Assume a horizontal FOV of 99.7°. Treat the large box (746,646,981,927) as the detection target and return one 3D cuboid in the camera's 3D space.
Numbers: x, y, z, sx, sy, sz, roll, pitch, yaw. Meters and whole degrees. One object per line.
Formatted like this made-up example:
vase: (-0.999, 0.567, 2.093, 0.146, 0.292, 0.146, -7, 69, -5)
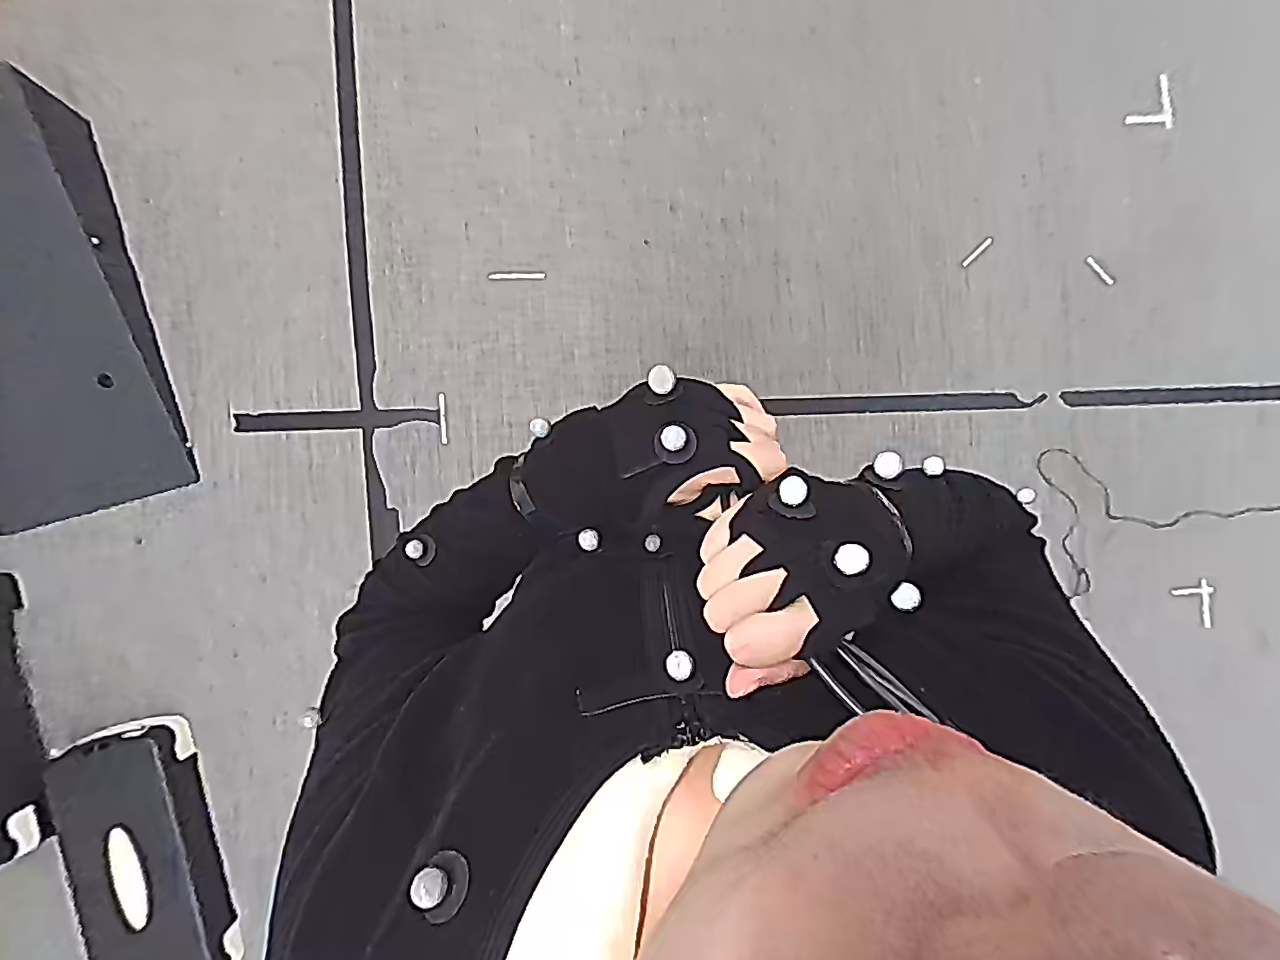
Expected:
large box: (0.473, 0.648, 1.216, 0.320, 0.320, 0.408, -16, 92, -4)
